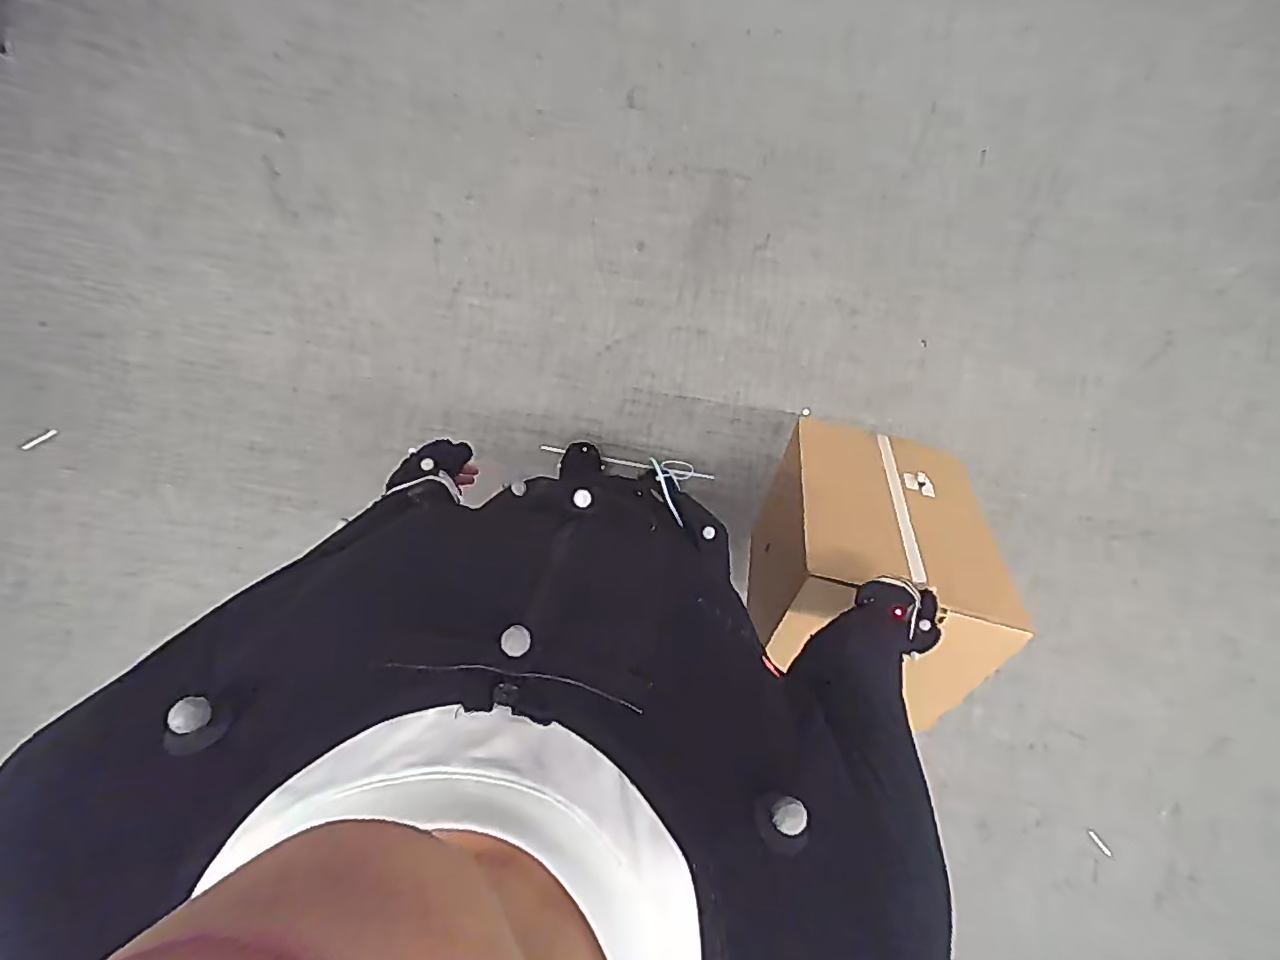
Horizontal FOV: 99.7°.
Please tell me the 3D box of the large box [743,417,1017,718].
[{"bbox_3d":[0.383,0.149,0.989,0.320,0.408,0.320,16,130,2],"label":"large box"}]
